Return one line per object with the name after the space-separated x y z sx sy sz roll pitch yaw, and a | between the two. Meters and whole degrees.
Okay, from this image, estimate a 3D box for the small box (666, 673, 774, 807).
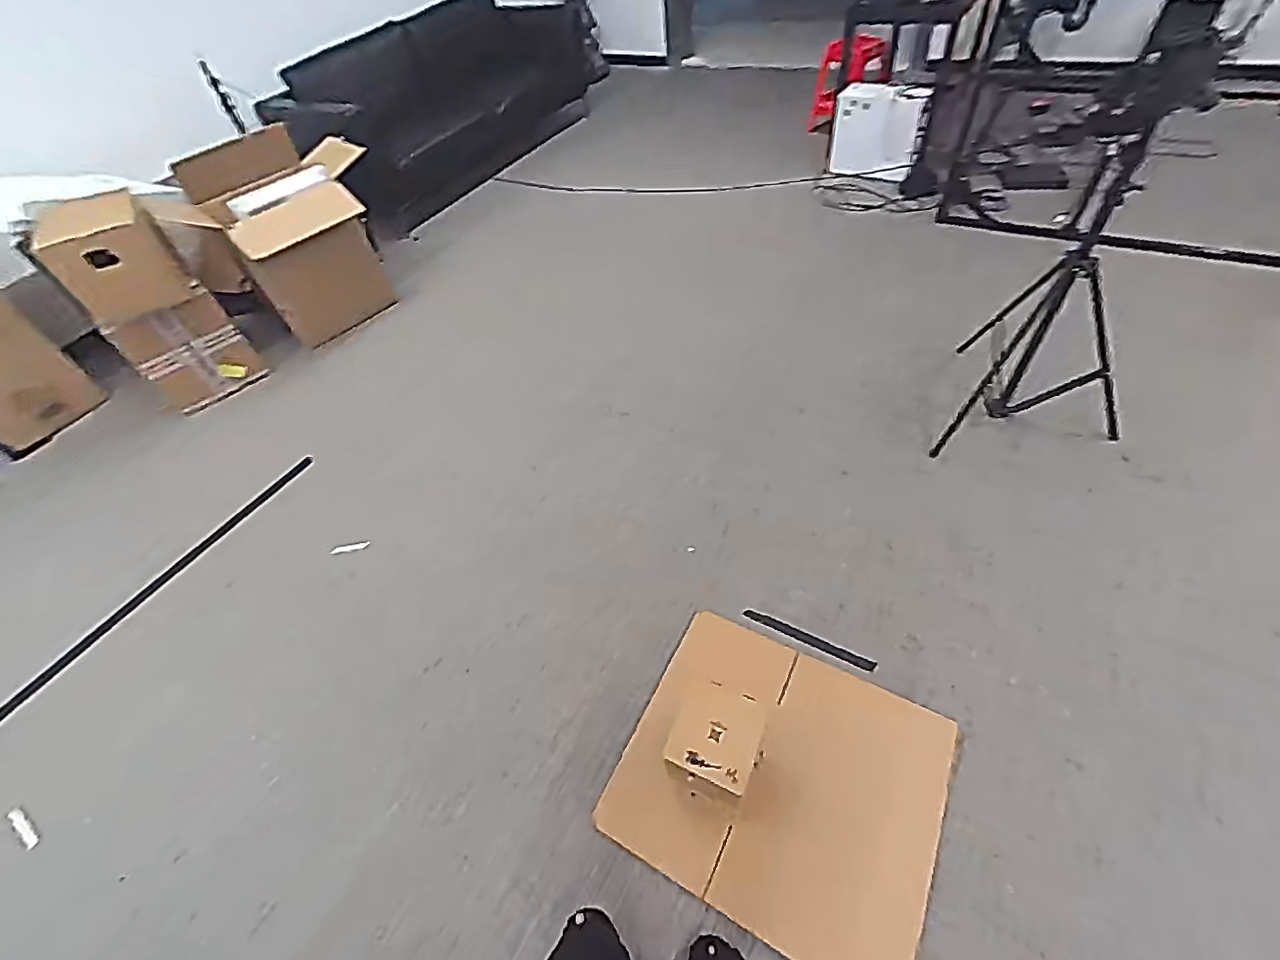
0.165 0.536 1.113 0.168 0.176 0.179 17 55 21 | small box

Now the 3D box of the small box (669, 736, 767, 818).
0.183 0.641 1.238 0.168 0.176 0.179 18 56 22 | small box
